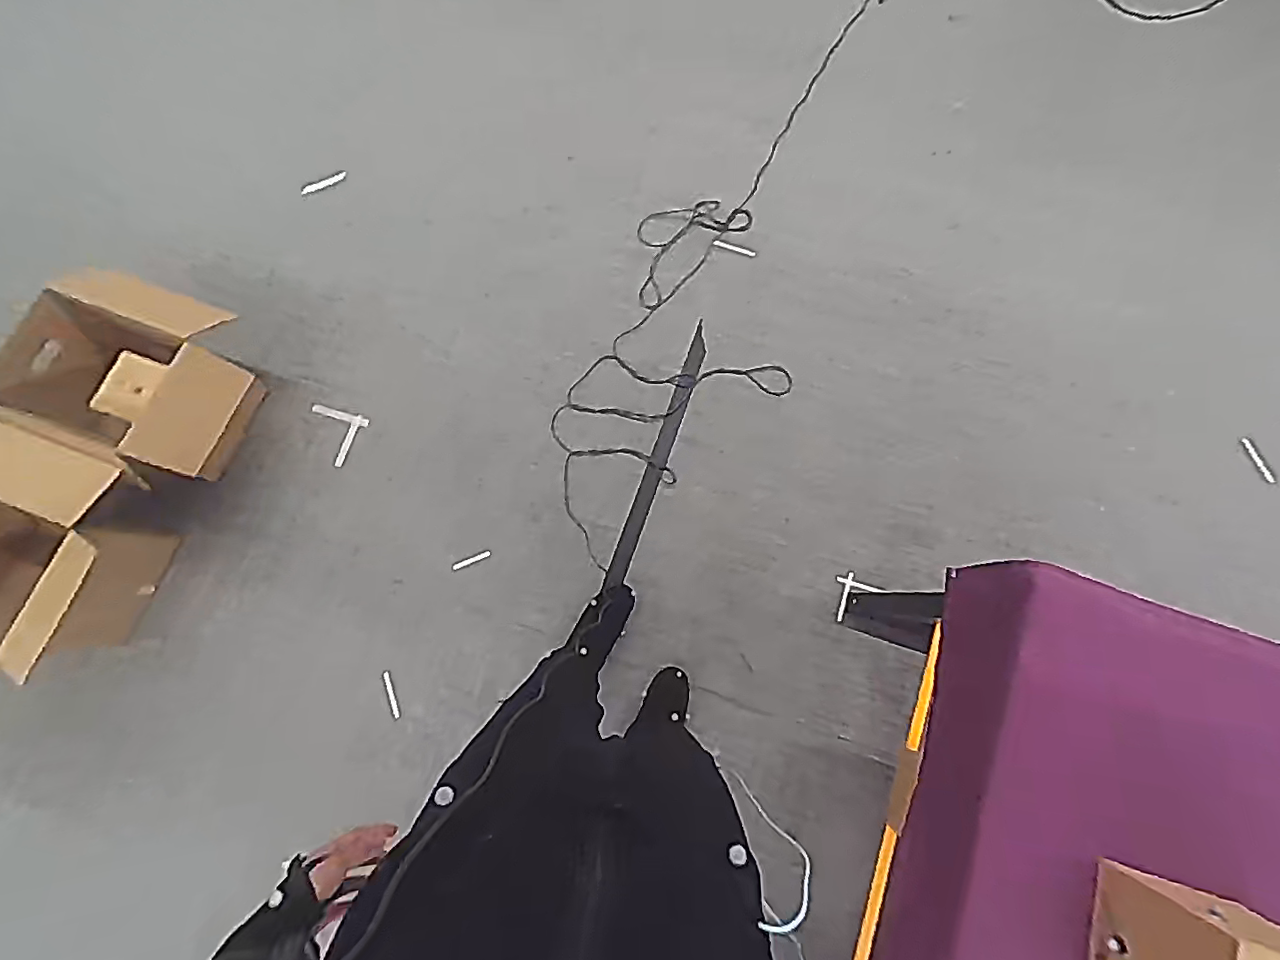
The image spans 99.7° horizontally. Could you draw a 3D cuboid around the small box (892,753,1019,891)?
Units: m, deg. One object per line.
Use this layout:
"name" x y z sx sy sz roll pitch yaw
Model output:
"small box" 0.671 0.728 1.171 0.168 0.176 0.179 18 79 4
